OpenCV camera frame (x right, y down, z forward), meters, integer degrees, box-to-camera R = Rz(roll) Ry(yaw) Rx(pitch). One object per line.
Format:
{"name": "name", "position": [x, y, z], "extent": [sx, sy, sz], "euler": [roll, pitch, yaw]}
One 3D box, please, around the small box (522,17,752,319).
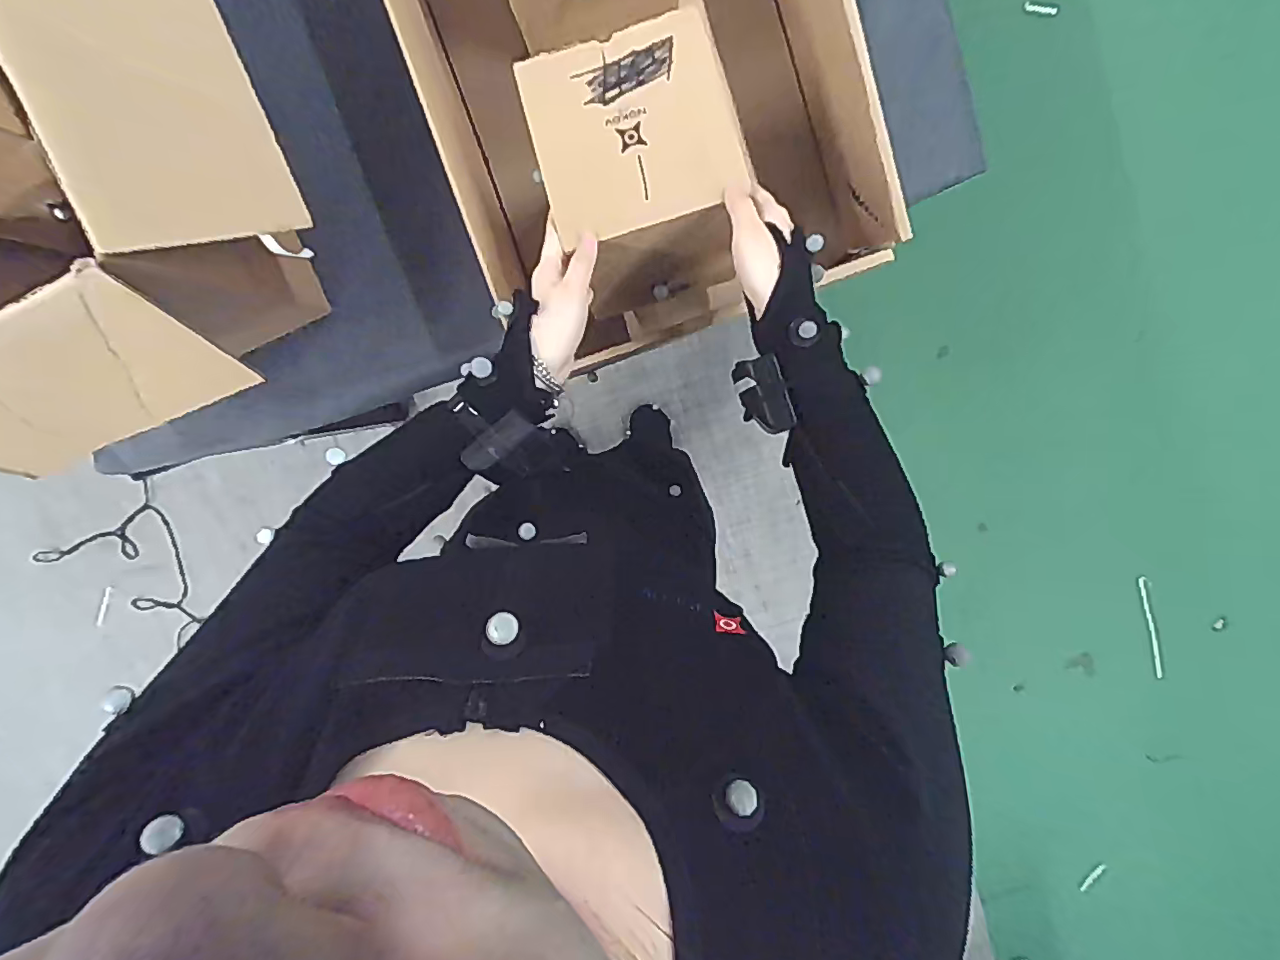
{"name": "small box", "position": [0.001, -0.288, 0.538], "extent": [0.168, 0.176, 0.179], "euler": [-15, 86, 4]}
